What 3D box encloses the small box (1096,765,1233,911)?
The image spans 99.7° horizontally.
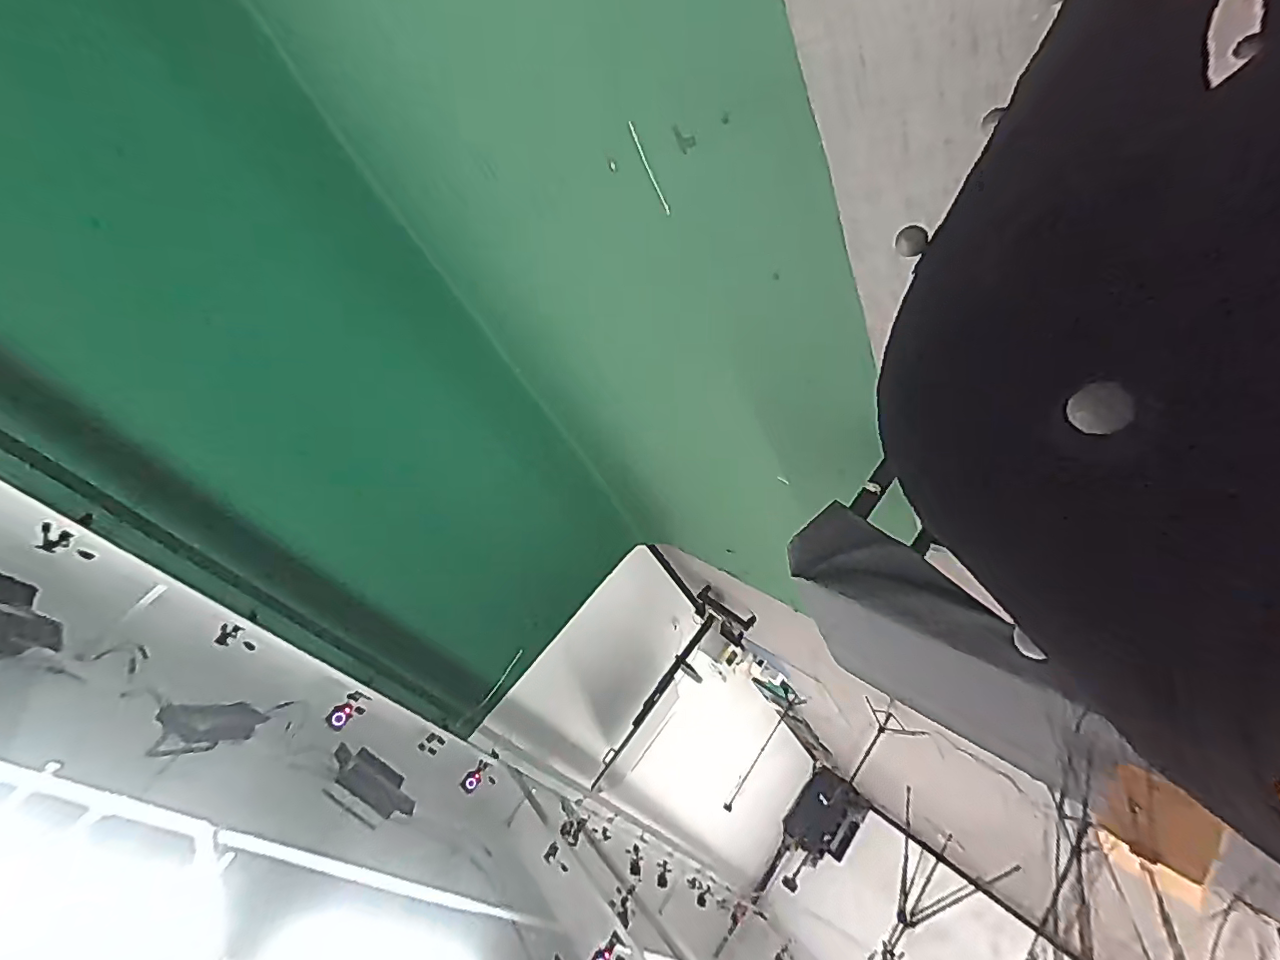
[{"bbox_3d":[1.091,0.736,1.127,0.168,0.176,0.179,19,153,55],"label":"small box"}]
